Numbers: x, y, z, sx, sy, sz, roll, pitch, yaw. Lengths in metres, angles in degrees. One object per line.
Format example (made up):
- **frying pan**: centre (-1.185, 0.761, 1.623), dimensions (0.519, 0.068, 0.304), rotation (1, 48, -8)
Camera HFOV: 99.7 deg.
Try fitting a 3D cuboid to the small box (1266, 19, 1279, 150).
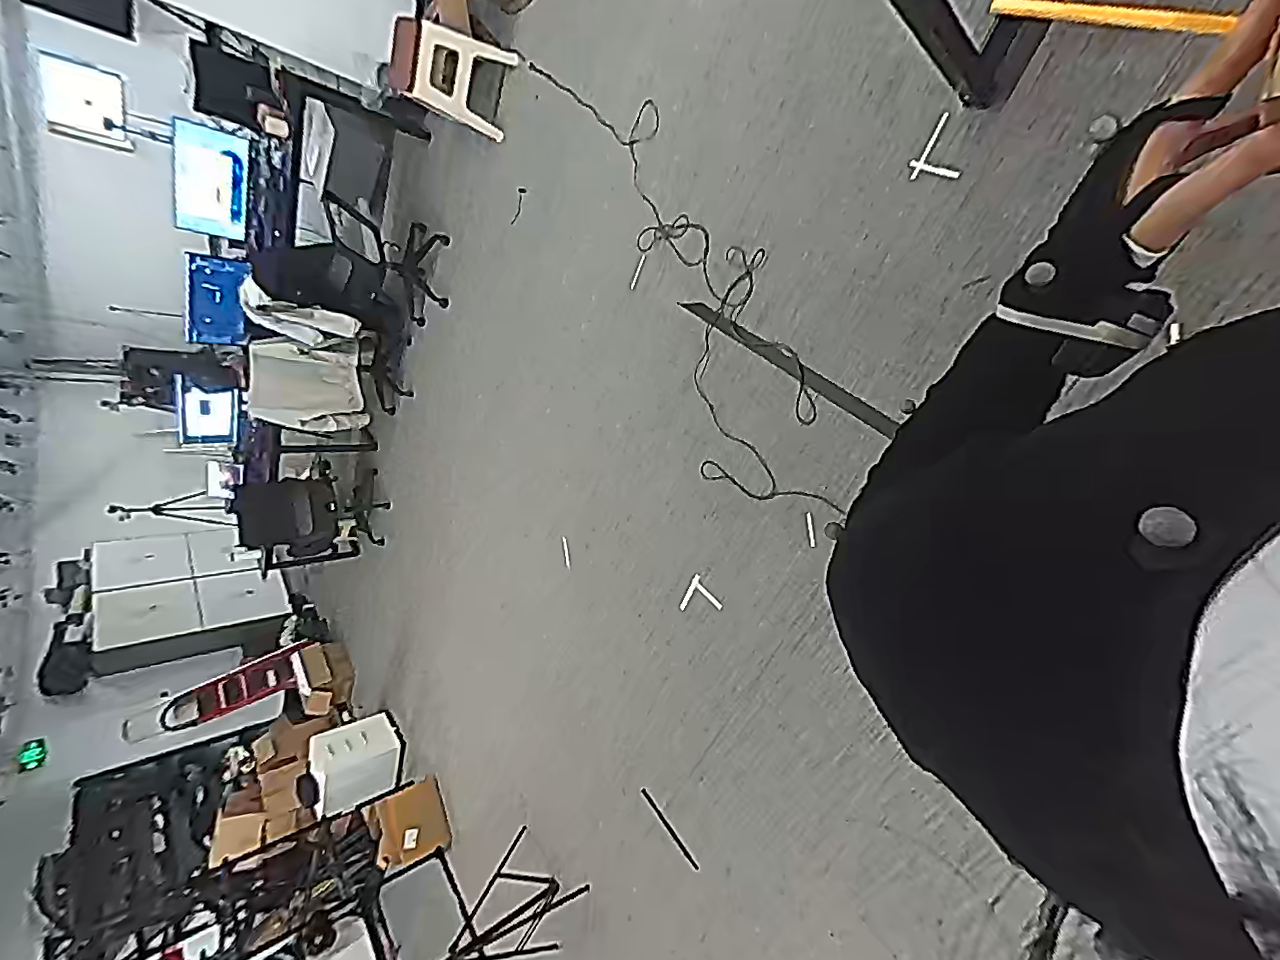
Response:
- **small box**: centre (0.413, -0.256, 0.224), dimensions (0.179, 0.176, 0.168), rotation (16, 111, 46)
